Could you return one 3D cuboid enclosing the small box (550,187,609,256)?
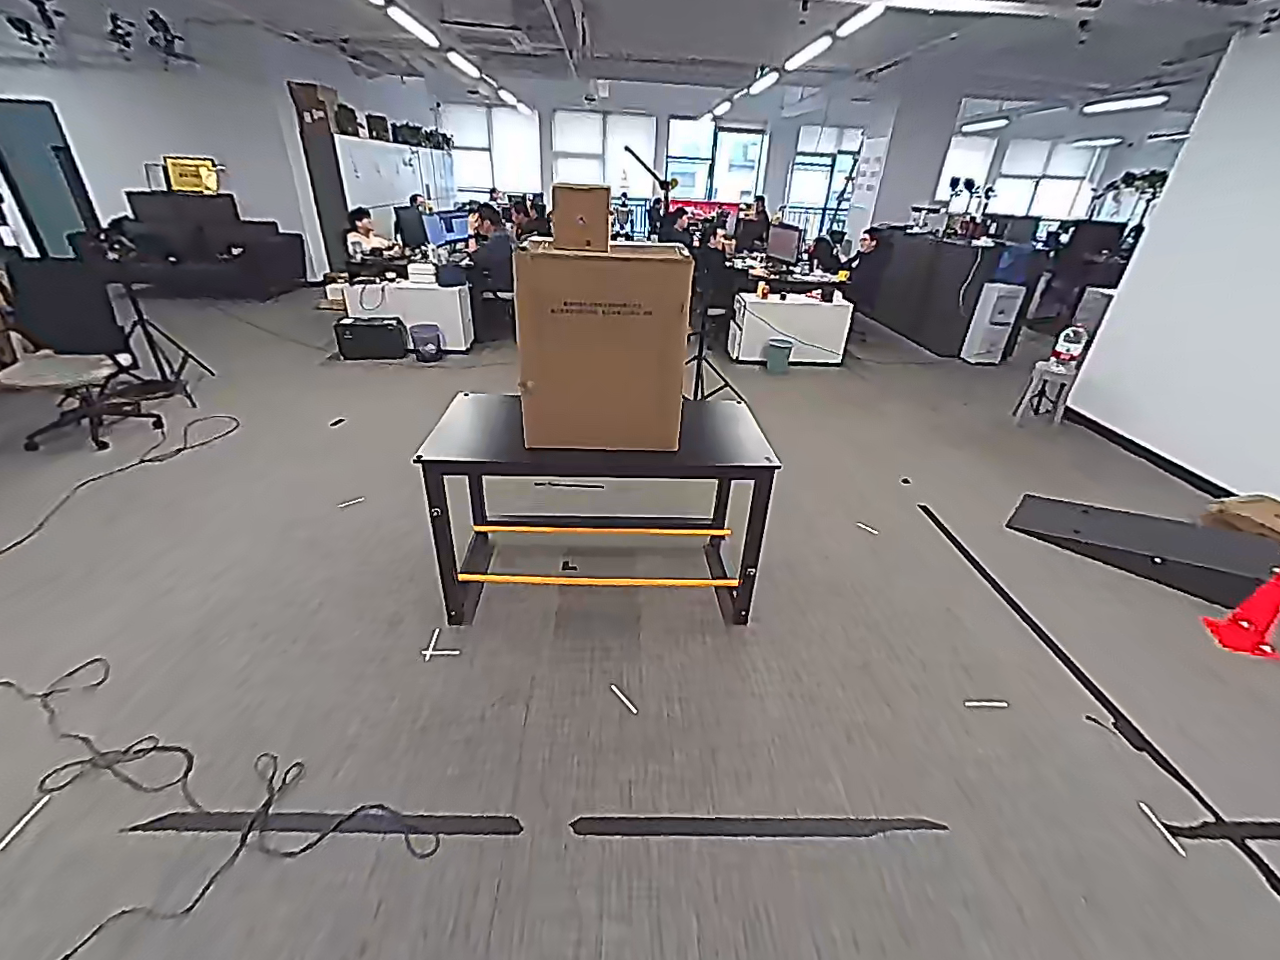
[{"bbox_3d":[-0.178,-0.785,1.641,0.168,0.176,0.179,2,32,-3],"label":"small box"}]
